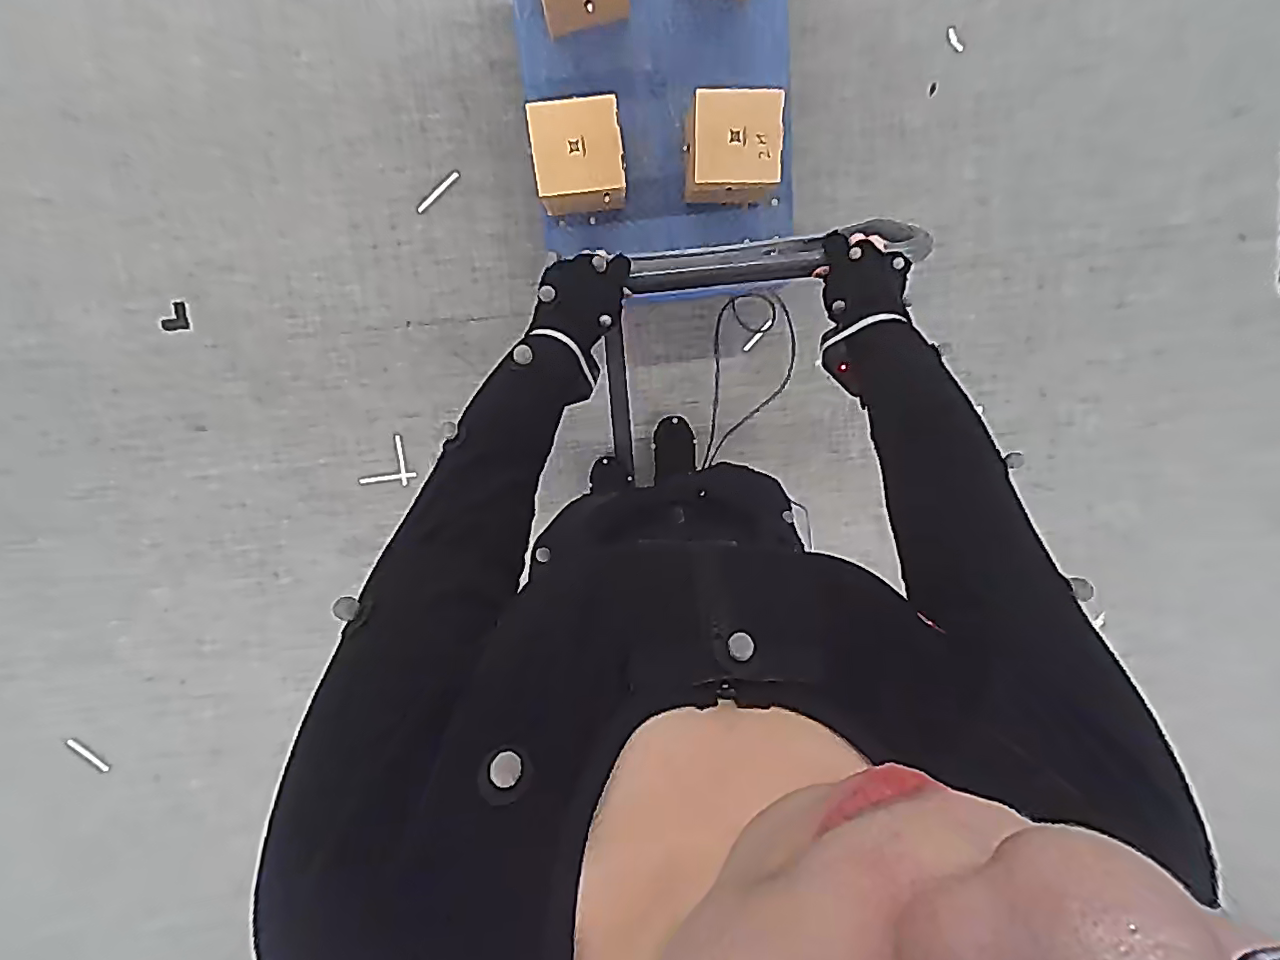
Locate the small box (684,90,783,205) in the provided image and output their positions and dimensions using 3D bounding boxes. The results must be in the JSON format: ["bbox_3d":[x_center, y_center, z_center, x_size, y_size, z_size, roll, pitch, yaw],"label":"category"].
[{"bbox_3d":[0.187,-0.686,1.134,0.179,0.176,0.168,-1,104,-3],"label":"small box"}]

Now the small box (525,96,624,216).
[{"bbox_3d":[-0.130,-0.662,1.124,0.179,0.176,0.168,-8,104,-3],"label":"small box"}]
